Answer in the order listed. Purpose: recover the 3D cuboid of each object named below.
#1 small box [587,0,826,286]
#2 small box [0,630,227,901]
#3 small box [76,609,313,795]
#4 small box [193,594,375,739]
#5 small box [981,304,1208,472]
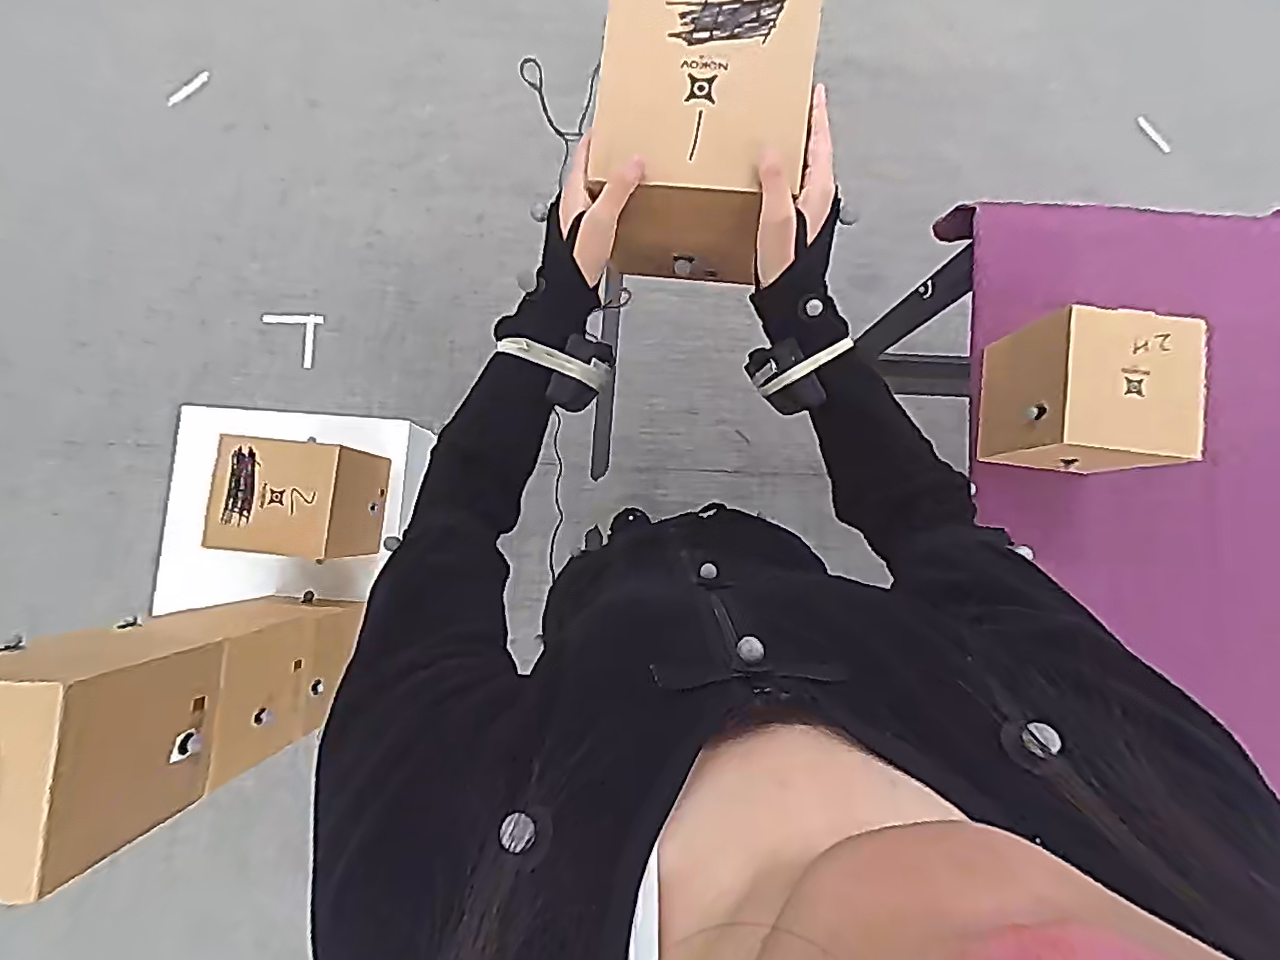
[{"bbox_3d":[0.057,-0.301,0.489,0.168,0.176,0.179,7,88,5],"label":"small box"},{"bbox_3d":[-0.532,0.237,0.492,0.179,0.176,0.168,3,86,-1],"label":"small box"},{"bbox_3d":[-0.531,0.253,0.654,0.179,0.176,0.168,3,85,0],"label":"small box"},{"bbox_3d":[-0.534,0.269,0.815,0.179,0.176,0.168,4,85,1],"label":"small box"},{"bbox_3d":[0.590,-0.110,0.724,0.168,0.176,0.179,7,85,0],"label":"small box"}]
